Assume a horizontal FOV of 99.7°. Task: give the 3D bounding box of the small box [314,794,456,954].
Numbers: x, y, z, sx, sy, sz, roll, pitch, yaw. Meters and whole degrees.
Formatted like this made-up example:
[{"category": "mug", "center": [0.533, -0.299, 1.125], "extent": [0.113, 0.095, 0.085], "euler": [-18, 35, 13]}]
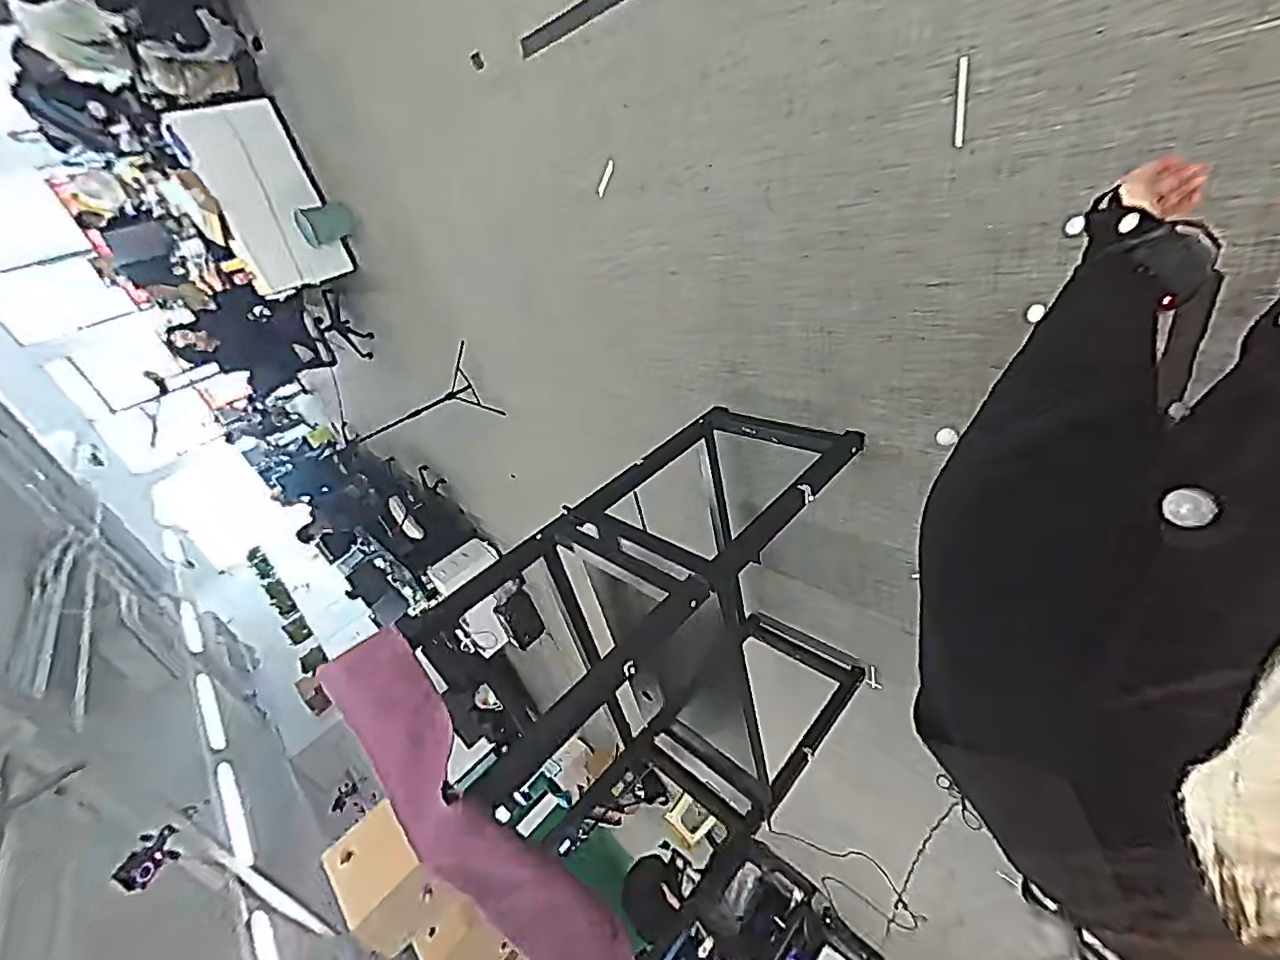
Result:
[{"category": "small box", "center": [-0.494, 0.758, 1.062], "extent": [0.179, 0.176, 0.168], "euler": [24, 140, 41]}]
